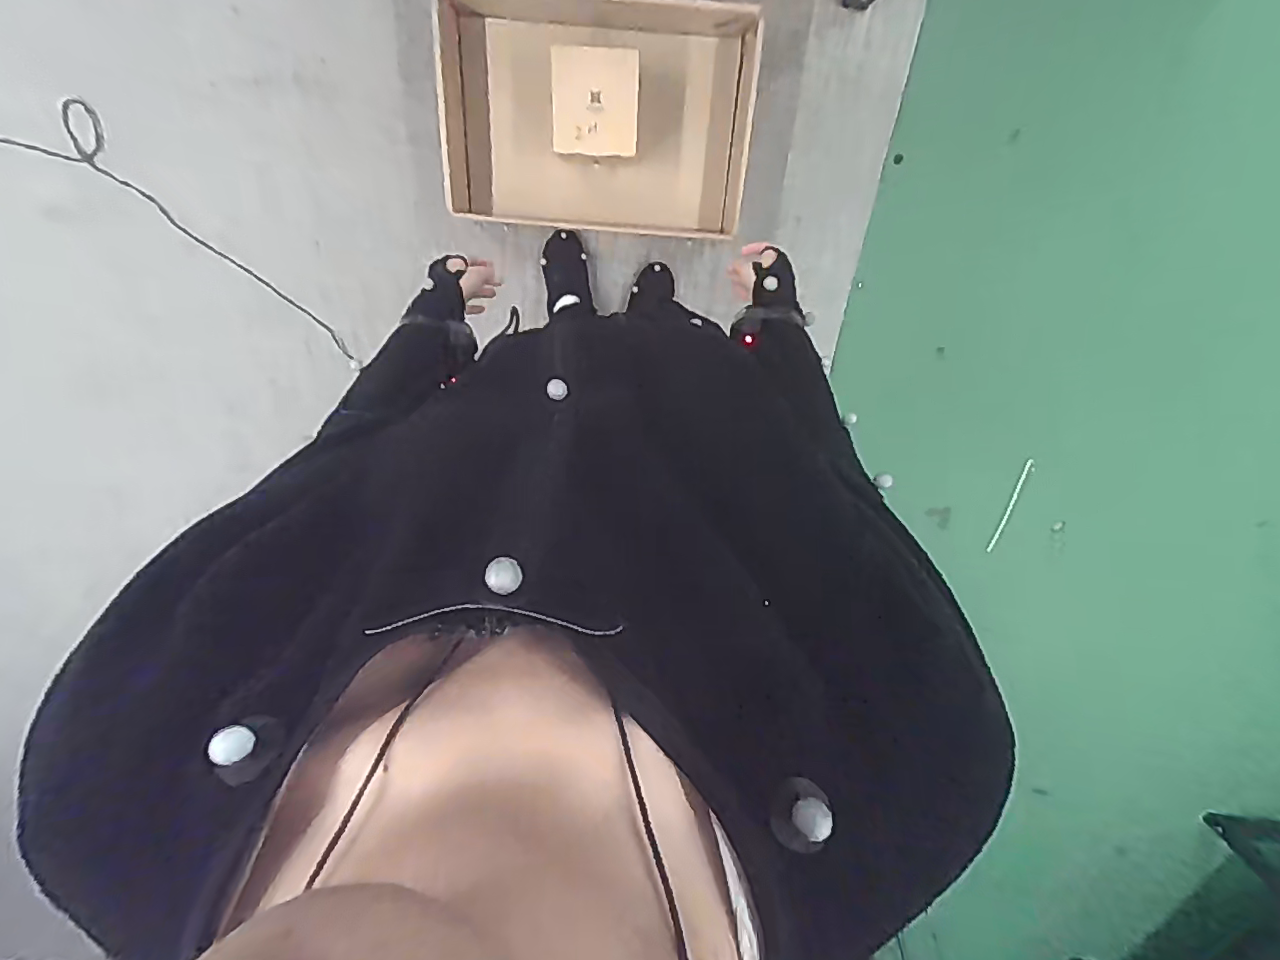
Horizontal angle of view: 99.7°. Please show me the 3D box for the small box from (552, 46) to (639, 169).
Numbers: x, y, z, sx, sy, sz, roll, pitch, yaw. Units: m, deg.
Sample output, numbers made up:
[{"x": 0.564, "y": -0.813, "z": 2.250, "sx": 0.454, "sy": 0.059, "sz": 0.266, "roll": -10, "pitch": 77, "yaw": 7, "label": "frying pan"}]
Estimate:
[{"x": -0.088, "y": -0.748, "z": 1.102, "sx": 0.168, "sy": 0.176, "sz": 0.179, "roll": 2, "pitch": 115, "yaw": -1, "label": "small box"}]
